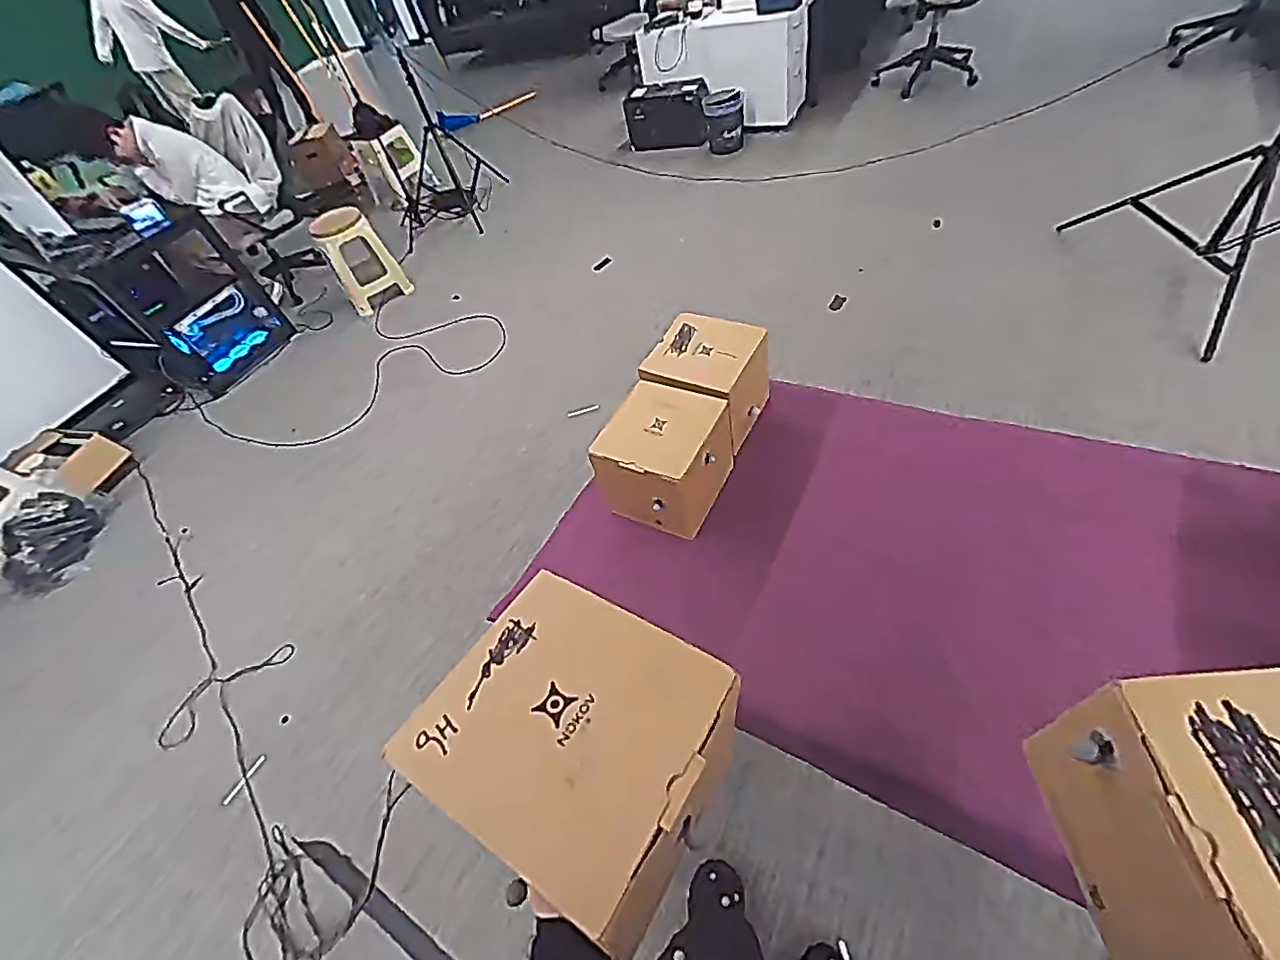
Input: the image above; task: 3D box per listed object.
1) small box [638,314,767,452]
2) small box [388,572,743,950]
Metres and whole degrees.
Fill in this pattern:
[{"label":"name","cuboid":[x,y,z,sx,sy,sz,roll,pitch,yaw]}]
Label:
[{"label":"small box","cuboid":[0.122,-0.176,0.996,0.179,0.176,0.168,20,61,26]},{"label":"small box","cuboid":[-0.041,0.208,0.409,0.179,0.176,0.168,23,51,24]}]
